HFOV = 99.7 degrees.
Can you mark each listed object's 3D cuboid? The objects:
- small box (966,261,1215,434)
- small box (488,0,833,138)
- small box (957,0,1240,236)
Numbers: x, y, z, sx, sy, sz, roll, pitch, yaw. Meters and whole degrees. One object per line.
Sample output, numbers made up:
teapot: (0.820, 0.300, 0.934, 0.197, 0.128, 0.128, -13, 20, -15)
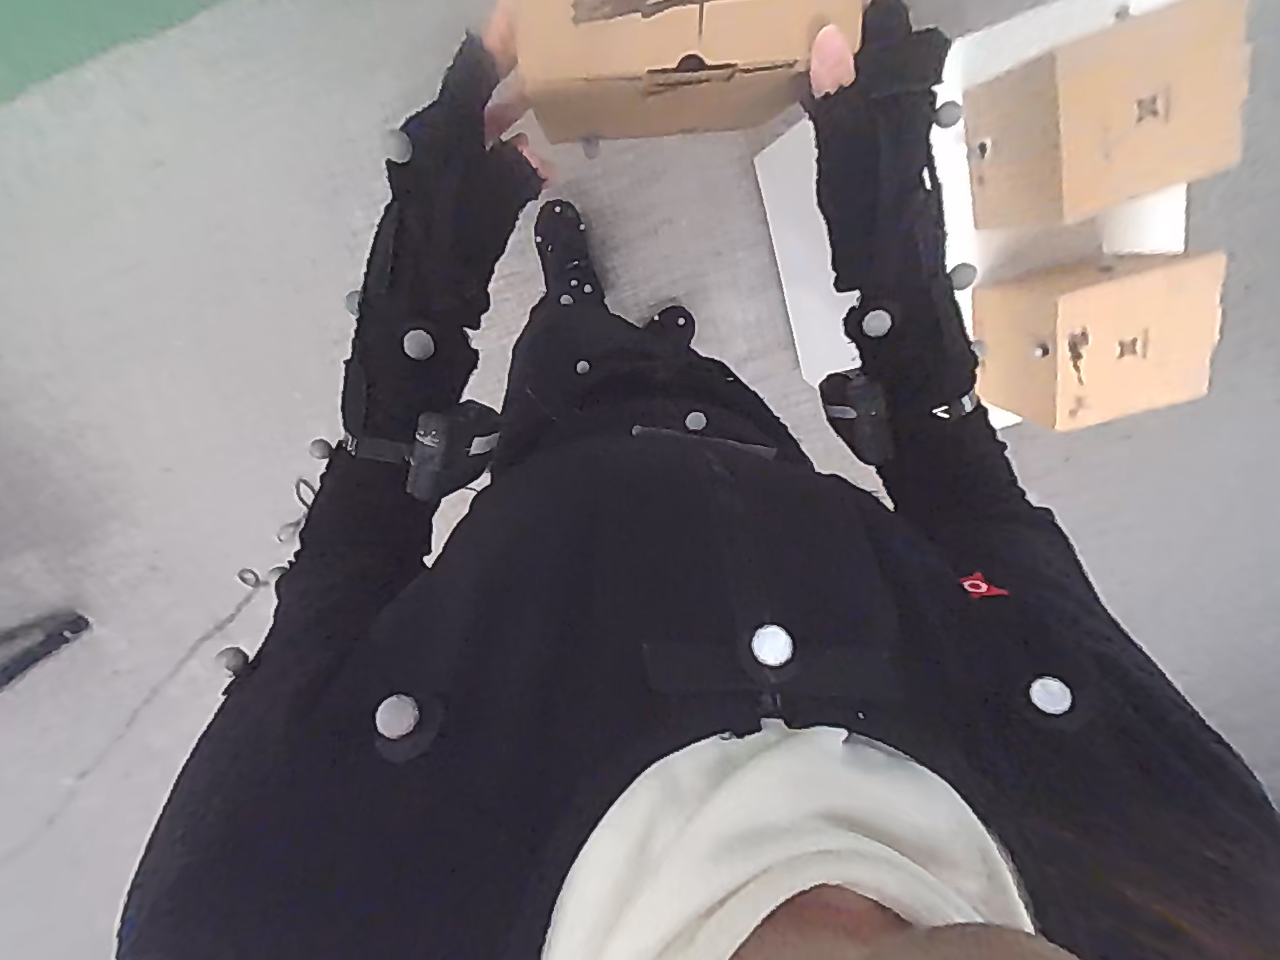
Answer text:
small box: (0.556, -0.177, 0.695, 0.179, 0.176, 0.168, -13, 112, 5)
small box: (0.002, -0.309, 0.305, 0.168, 0.176, 0.179, -6, 113, -2)
small box: (0.496, -0.390, 0.609, 0.179, 0.176, 0.168, -18, 111, 8)
